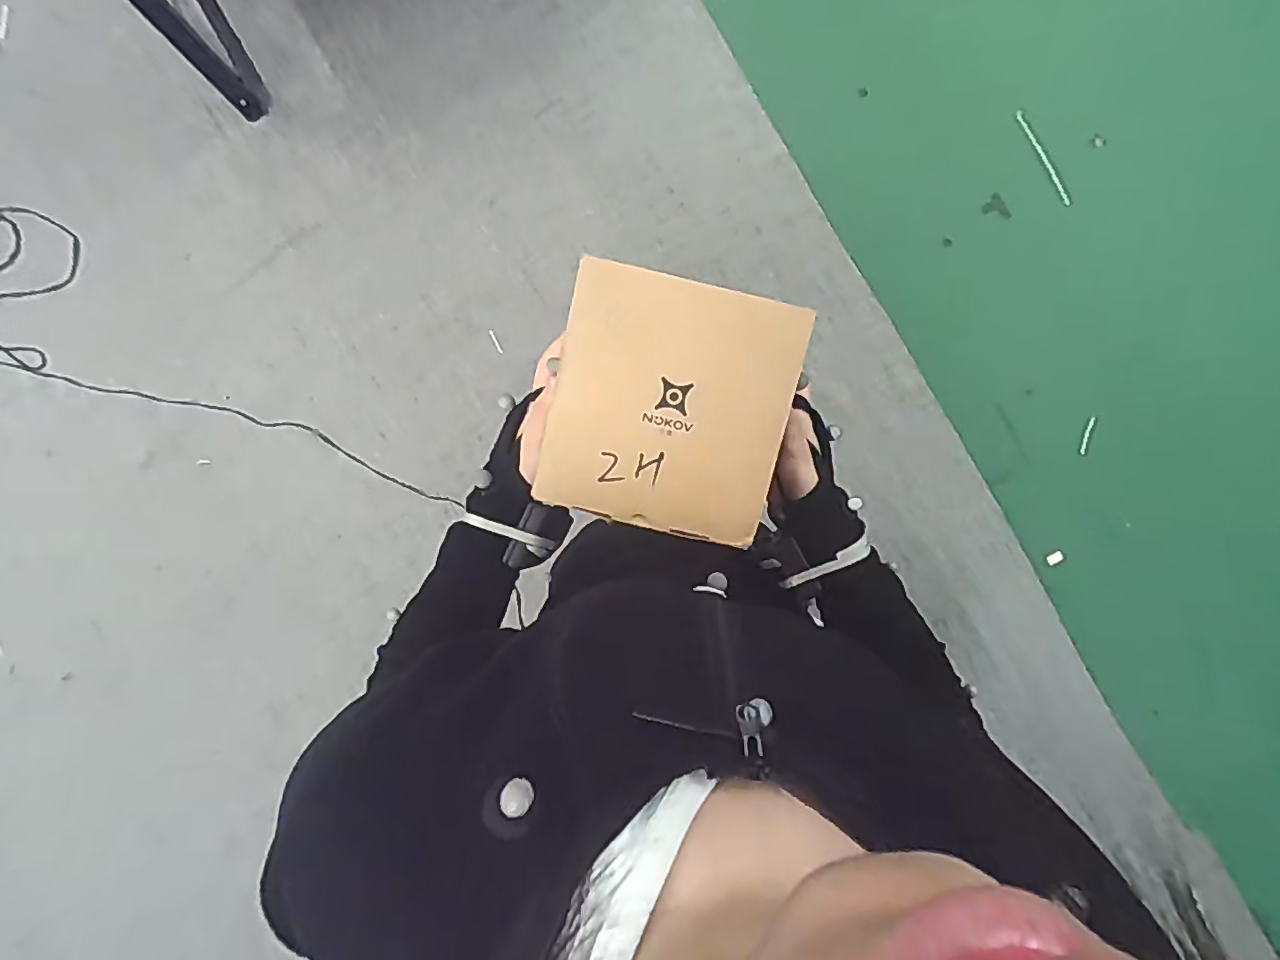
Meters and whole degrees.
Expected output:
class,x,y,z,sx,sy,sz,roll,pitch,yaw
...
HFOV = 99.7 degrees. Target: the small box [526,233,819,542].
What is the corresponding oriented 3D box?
class,x,y,z,sx,sy,sz,roll,pitch,yaw
small box,0.021,-0.068,0.440,0.168,0.176,0.179,13,97,-1
